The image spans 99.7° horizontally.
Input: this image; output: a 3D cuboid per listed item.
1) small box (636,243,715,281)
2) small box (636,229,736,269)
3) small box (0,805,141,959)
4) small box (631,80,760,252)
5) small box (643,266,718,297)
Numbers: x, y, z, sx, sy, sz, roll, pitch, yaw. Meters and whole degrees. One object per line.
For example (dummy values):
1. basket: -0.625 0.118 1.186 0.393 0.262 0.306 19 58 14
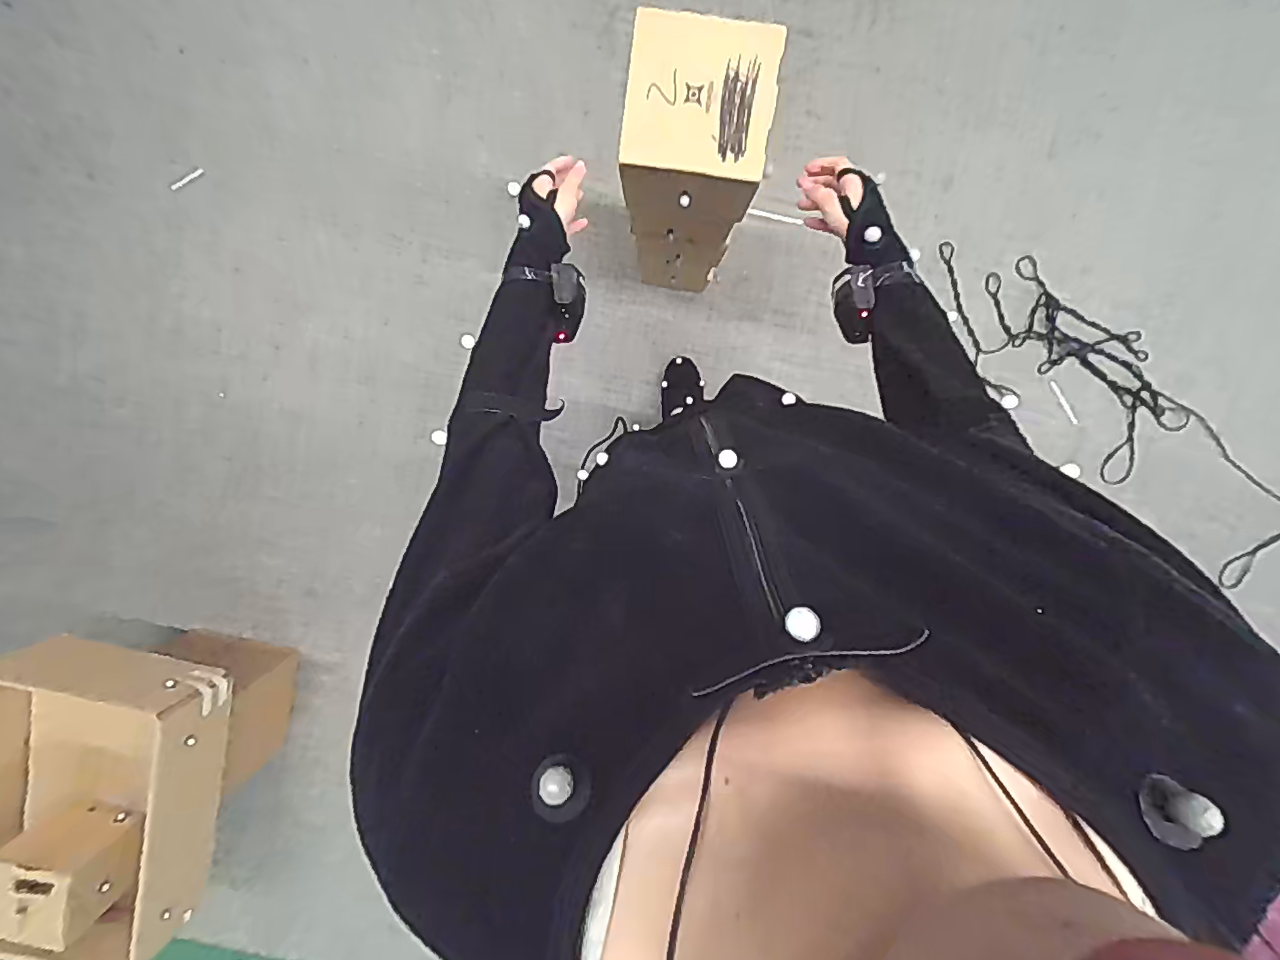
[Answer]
1. small box: 0.094 -0.547 1.184 0.179 0.176 0.168 11 99 0
2. small box: 0.091 -0.511 1.024 0.179 0.176 0.168 9 98 0
3. small box: -1.187 0.816 1.114 0.168 0.176 0.179 14 97 -1
4. small box: 0.081 -0.487 0.863 0.168 0.176 0.179 9 99 1
5. small box: 0.108 -0.566 1.347 0.179 0.176 0.168 11 98 -1
